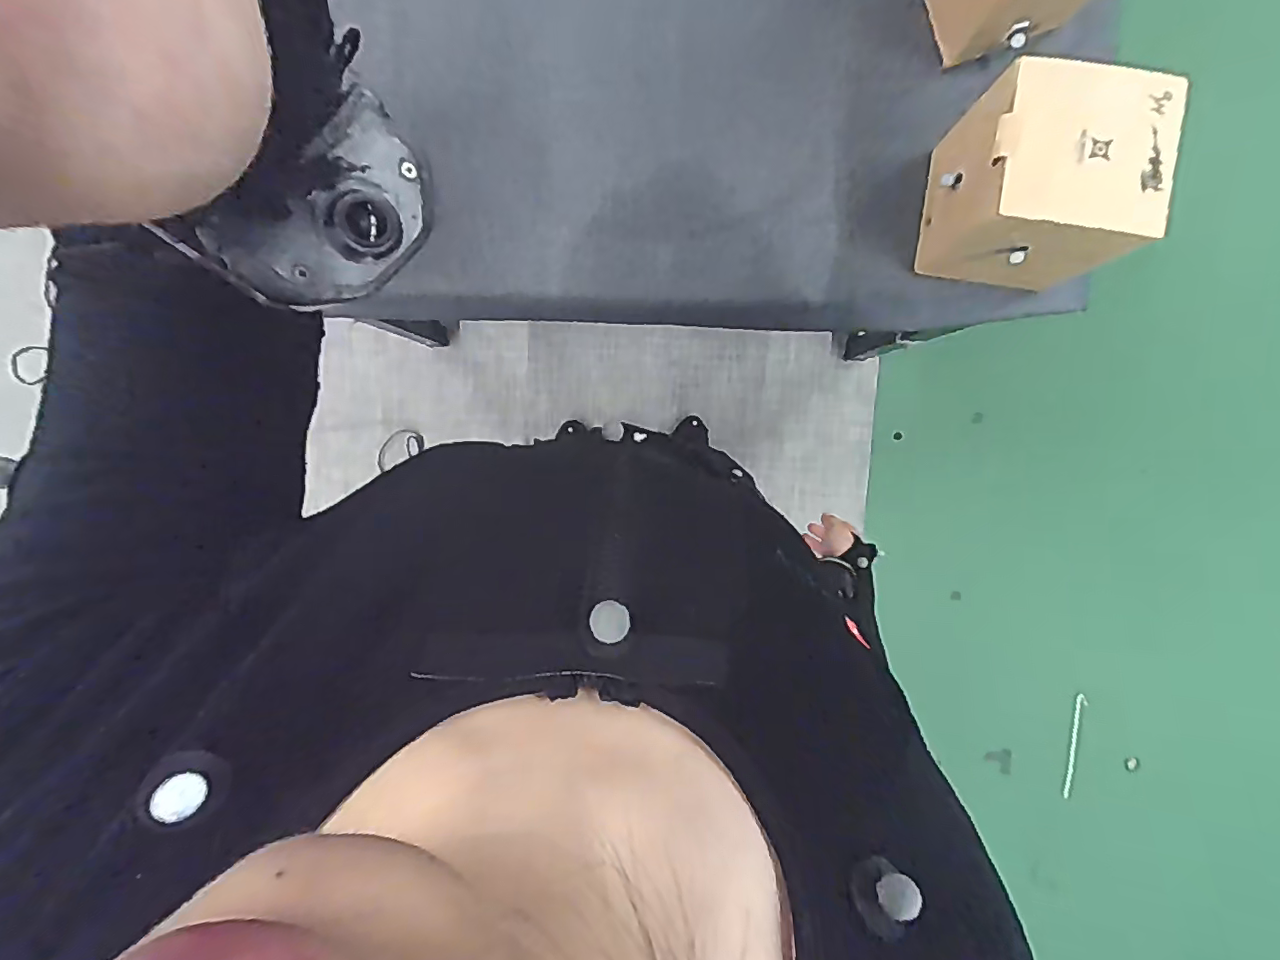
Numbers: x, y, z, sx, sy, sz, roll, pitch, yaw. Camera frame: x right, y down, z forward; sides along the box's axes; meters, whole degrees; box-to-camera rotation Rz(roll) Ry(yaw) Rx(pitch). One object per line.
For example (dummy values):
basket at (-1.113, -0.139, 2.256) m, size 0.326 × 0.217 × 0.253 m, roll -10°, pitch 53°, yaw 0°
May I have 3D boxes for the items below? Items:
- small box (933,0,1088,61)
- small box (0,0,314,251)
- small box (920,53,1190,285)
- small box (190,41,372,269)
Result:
small box at (0.440, -0.628, 0.599) m, size 0.168 × 0.176 × 0.179 m, roll -19°, pitch 97°, yaw 5°
small box at (-0.440, -0.328, 0.476) m, size 0.179 × 0.176 × 0.168 m, roll -21°, pitch 96°, yaw 2°
small box at (0.456, -0.341, 0.625) m, size 0.179 × 0.176 × 0.168 m, roll 8°, pitch 92°, yaw 1°
small box at (-0.441, -0.362, 0.635) m, size 0.179 × 0.176 × 0.168 m, roll -8°, pitch 97°, yaw 2°
